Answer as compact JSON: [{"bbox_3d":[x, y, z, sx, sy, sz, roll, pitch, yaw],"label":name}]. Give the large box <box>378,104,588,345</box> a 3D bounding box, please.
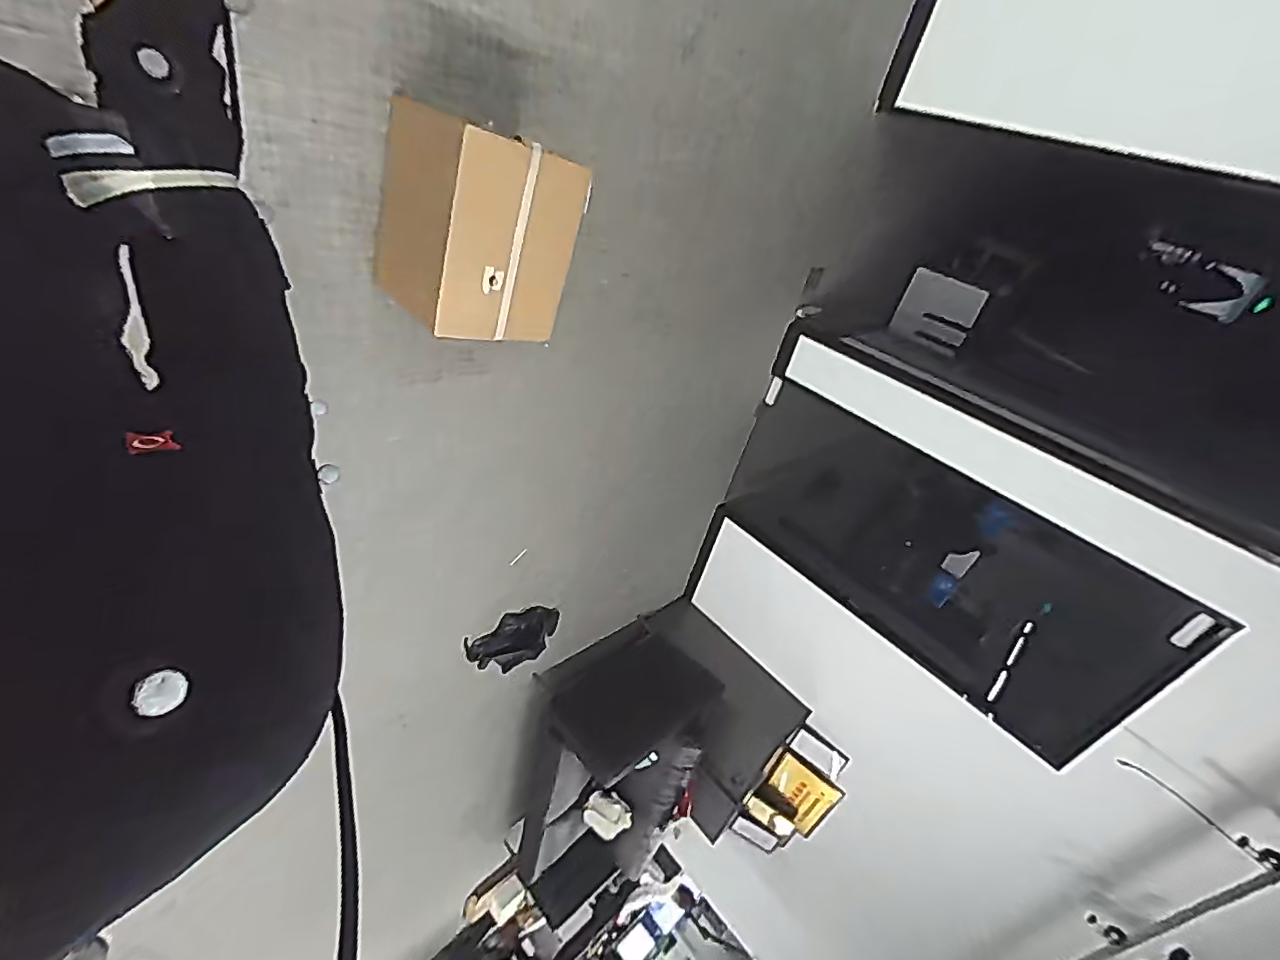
[{"bbox_3d":[-0.373,-0.564,1.244,0.320,0.320,0.408,-12,132,-46],"label":"large box"}]
